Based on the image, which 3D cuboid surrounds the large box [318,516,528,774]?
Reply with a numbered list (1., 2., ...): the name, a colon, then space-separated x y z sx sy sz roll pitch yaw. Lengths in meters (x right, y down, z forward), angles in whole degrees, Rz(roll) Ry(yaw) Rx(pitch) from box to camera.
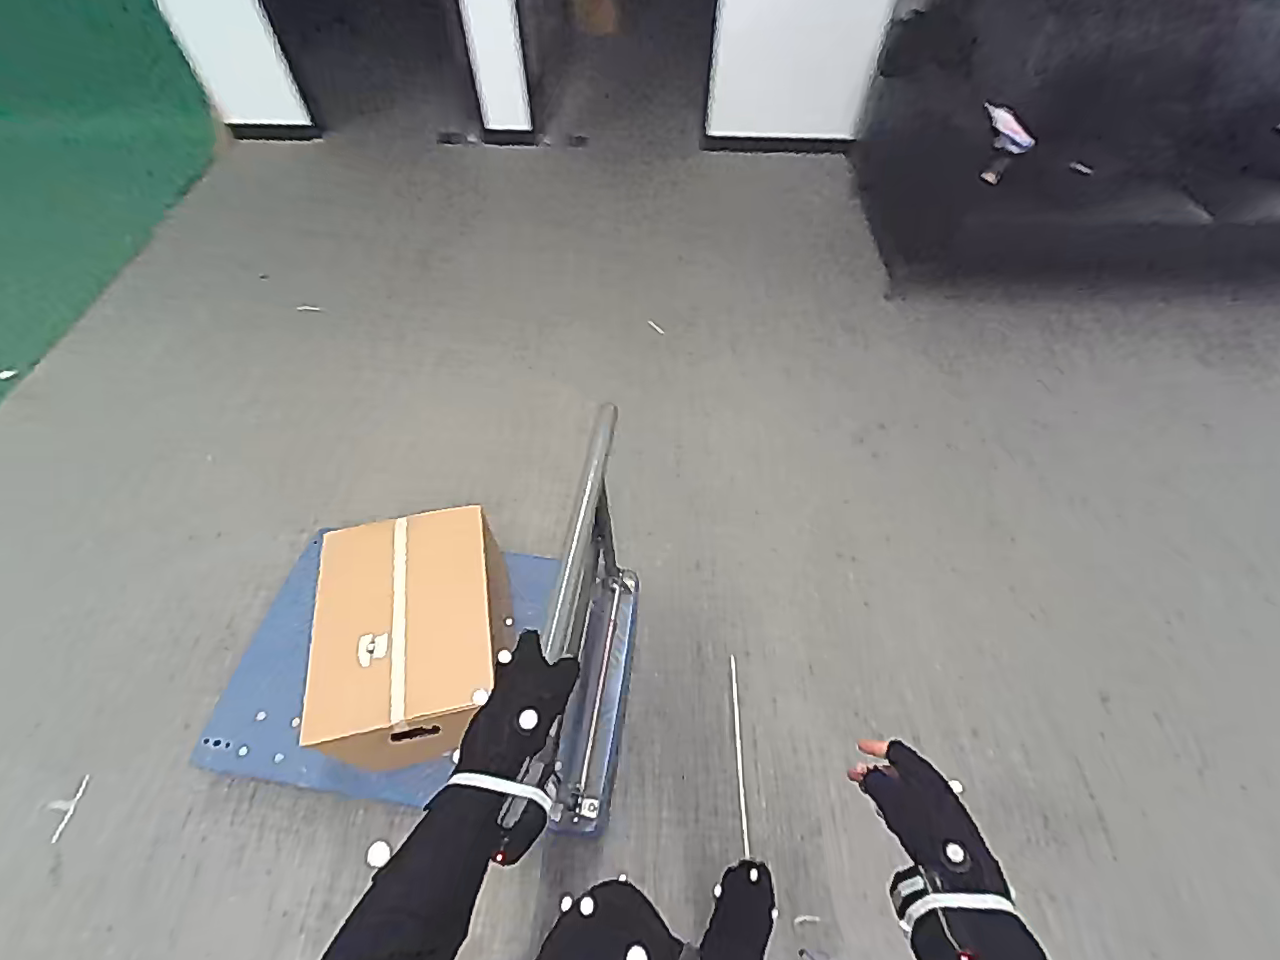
1. large box: -0.429 0.343 1.133 0.320 0.320 0.408 -11 56 -8
